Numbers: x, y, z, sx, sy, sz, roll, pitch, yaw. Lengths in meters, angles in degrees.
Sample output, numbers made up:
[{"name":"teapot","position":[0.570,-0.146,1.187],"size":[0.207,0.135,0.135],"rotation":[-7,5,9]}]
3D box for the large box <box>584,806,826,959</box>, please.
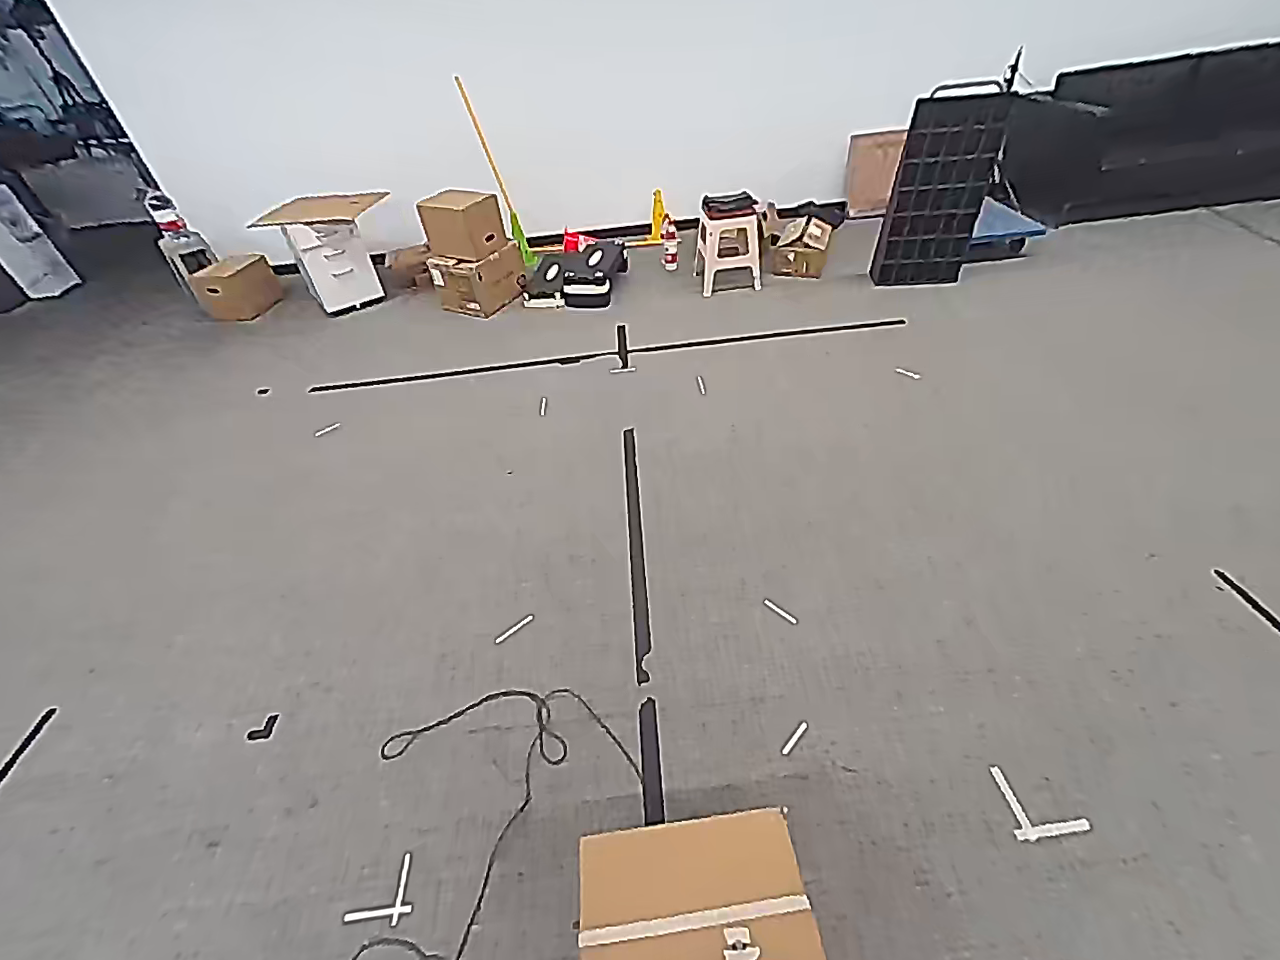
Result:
[{"name":"large box","position":[0.113,0.889,1.048],"size":[0.408,0.320,0.320],"rotation":[-7,40,-2]}]
